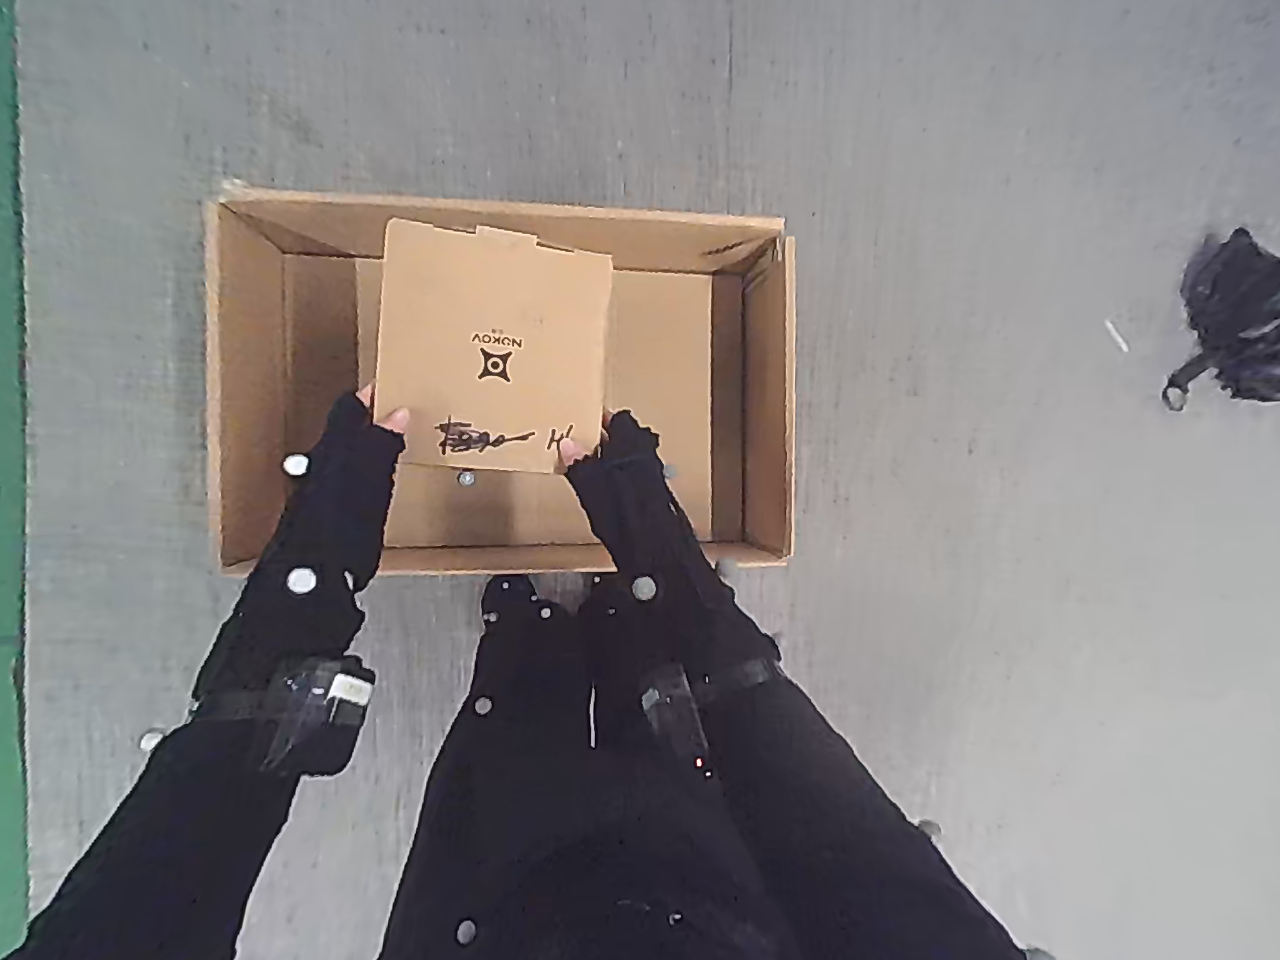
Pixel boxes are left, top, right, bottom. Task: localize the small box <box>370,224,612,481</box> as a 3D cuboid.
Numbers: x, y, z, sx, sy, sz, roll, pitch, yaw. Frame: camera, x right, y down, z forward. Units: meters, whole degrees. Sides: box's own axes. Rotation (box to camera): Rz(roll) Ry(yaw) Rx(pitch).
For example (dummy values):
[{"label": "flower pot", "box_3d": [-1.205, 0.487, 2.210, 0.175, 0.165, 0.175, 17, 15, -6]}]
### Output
[{"label": "small box", "box_3d": [-0.126, -0.093, 0.481, 0.168, 0.176, 0.179, 4, 90, -13]}]
